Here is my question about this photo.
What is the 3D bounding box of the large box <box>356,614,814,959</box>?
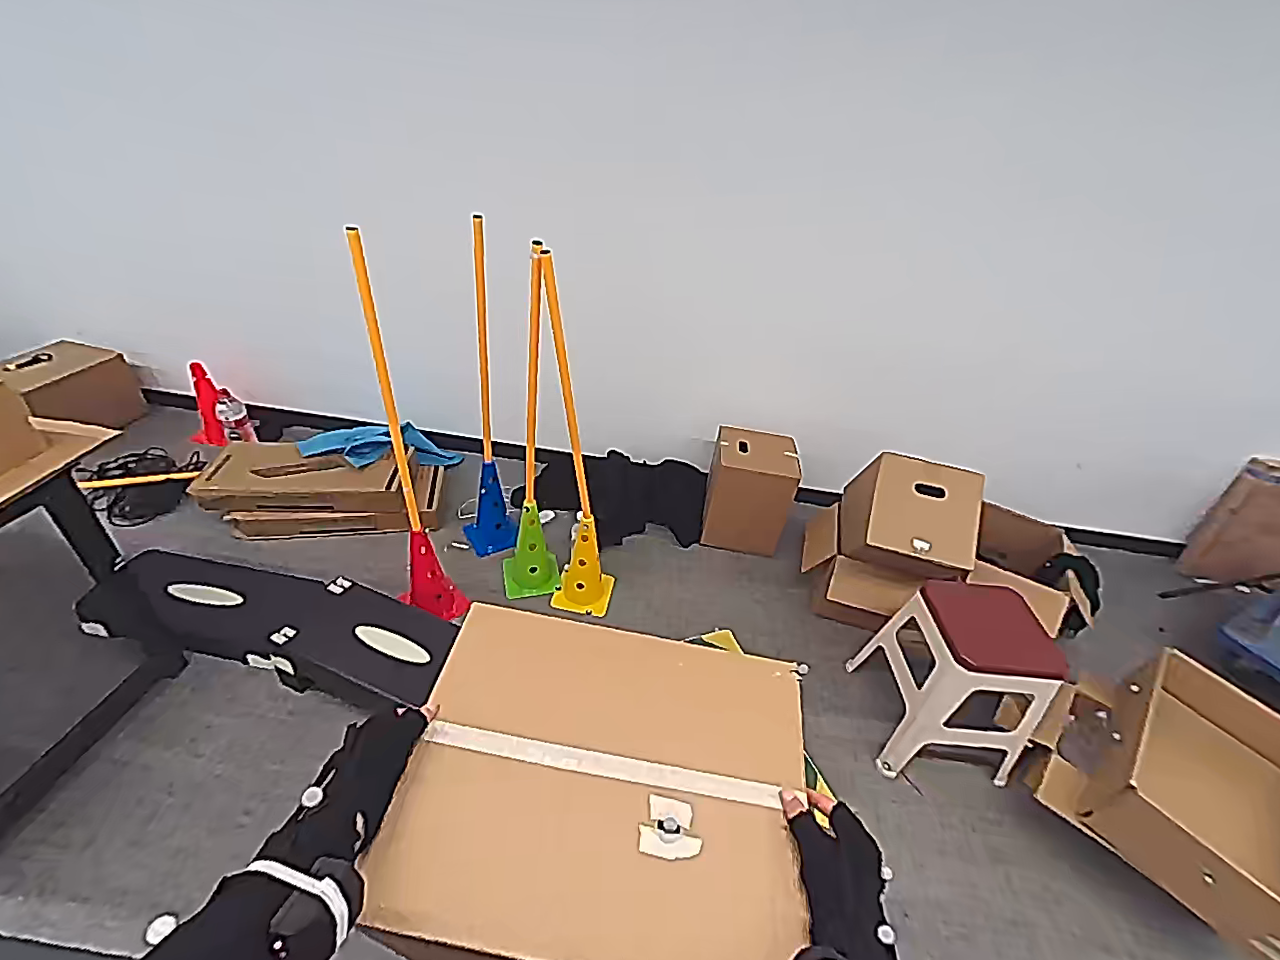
[{"bbox_3d":[-0.048,0.408,0.663,0.408,0.320,0.320,10,43,1],"label":"large box"}]
